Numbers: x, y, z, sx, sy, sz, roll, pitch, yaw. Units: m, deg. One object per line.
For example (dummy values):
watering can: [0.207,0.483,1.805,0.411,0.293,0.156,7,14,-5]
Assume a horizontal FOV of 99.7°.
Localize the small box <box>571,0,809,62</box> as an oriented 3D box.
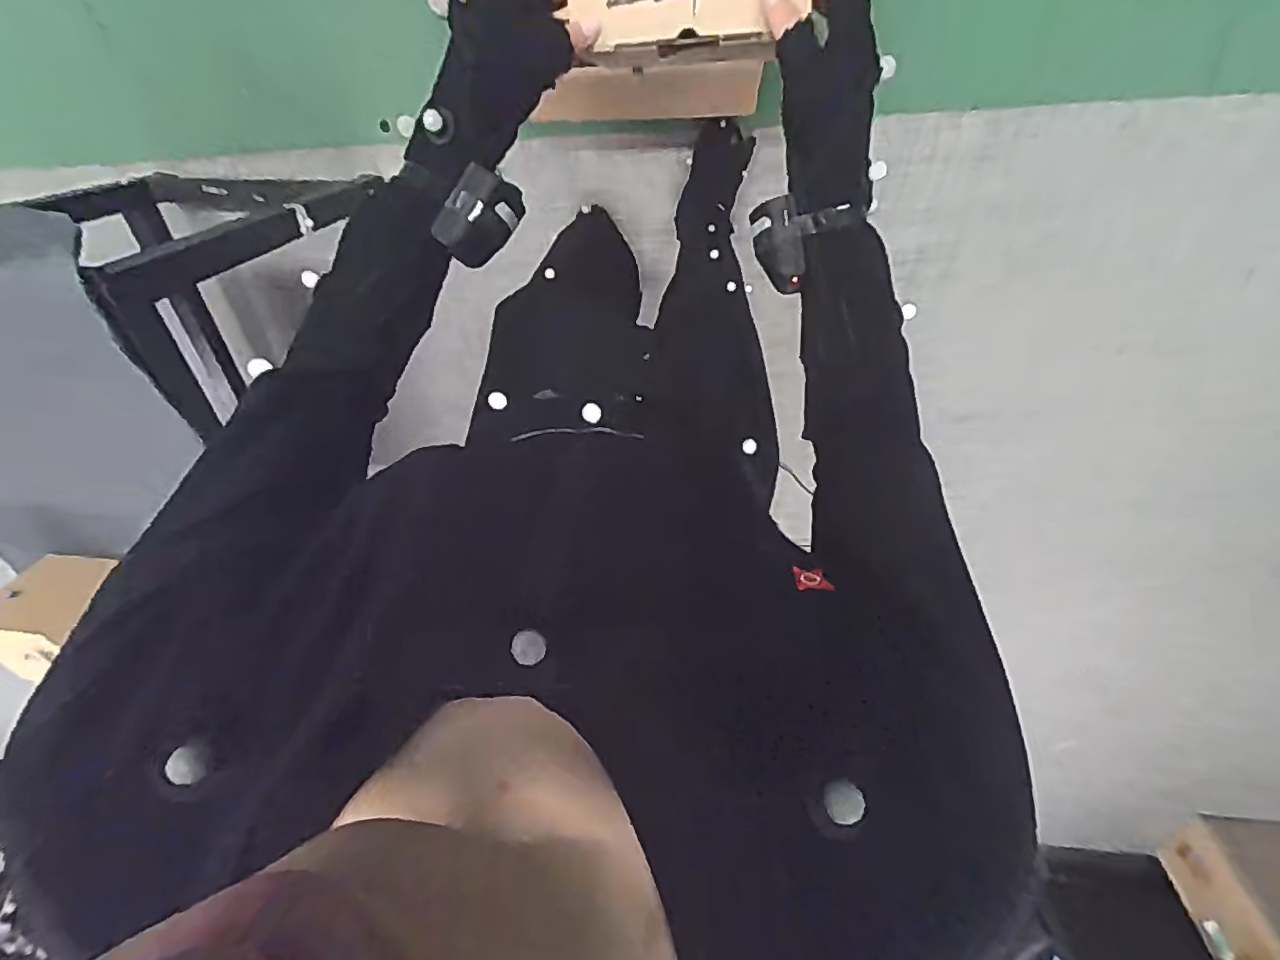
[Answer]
small box: [0.038,-0.423,0.397,0.168,0.176,0.179,0,123,6]
